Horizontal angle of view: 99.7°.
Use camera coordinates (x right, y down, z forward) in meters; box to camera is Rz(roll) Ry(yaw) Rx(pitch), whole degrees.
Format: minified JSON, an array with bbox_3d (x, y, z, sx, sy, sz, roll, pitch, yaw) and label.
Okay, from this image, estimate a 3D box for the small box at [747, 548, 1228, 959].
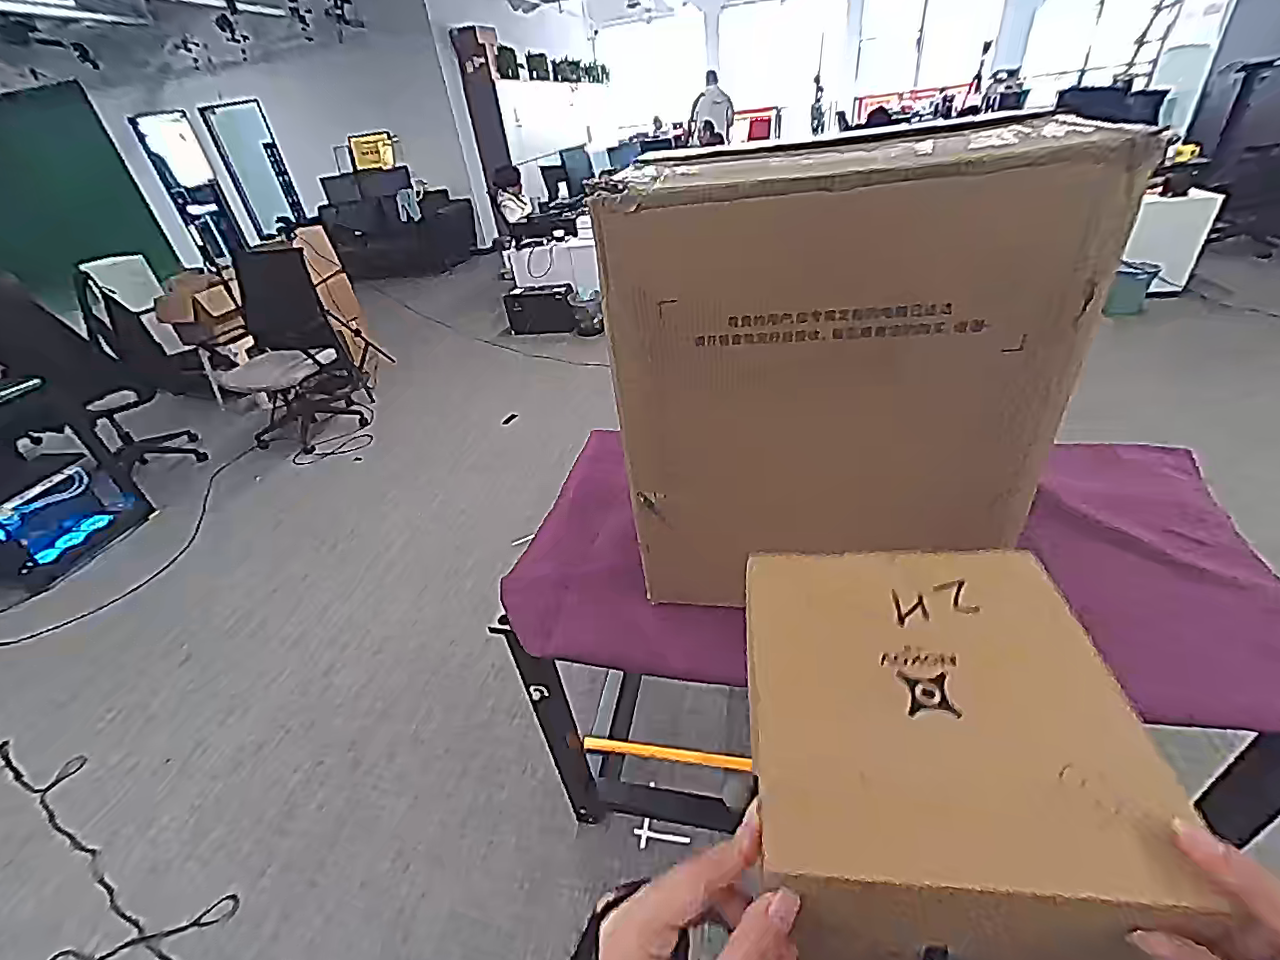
[{"bbox_3d":[0.149,0.160,0.316,0.168,0.176,0.179,-1,38,10],"label":"small box"}]
